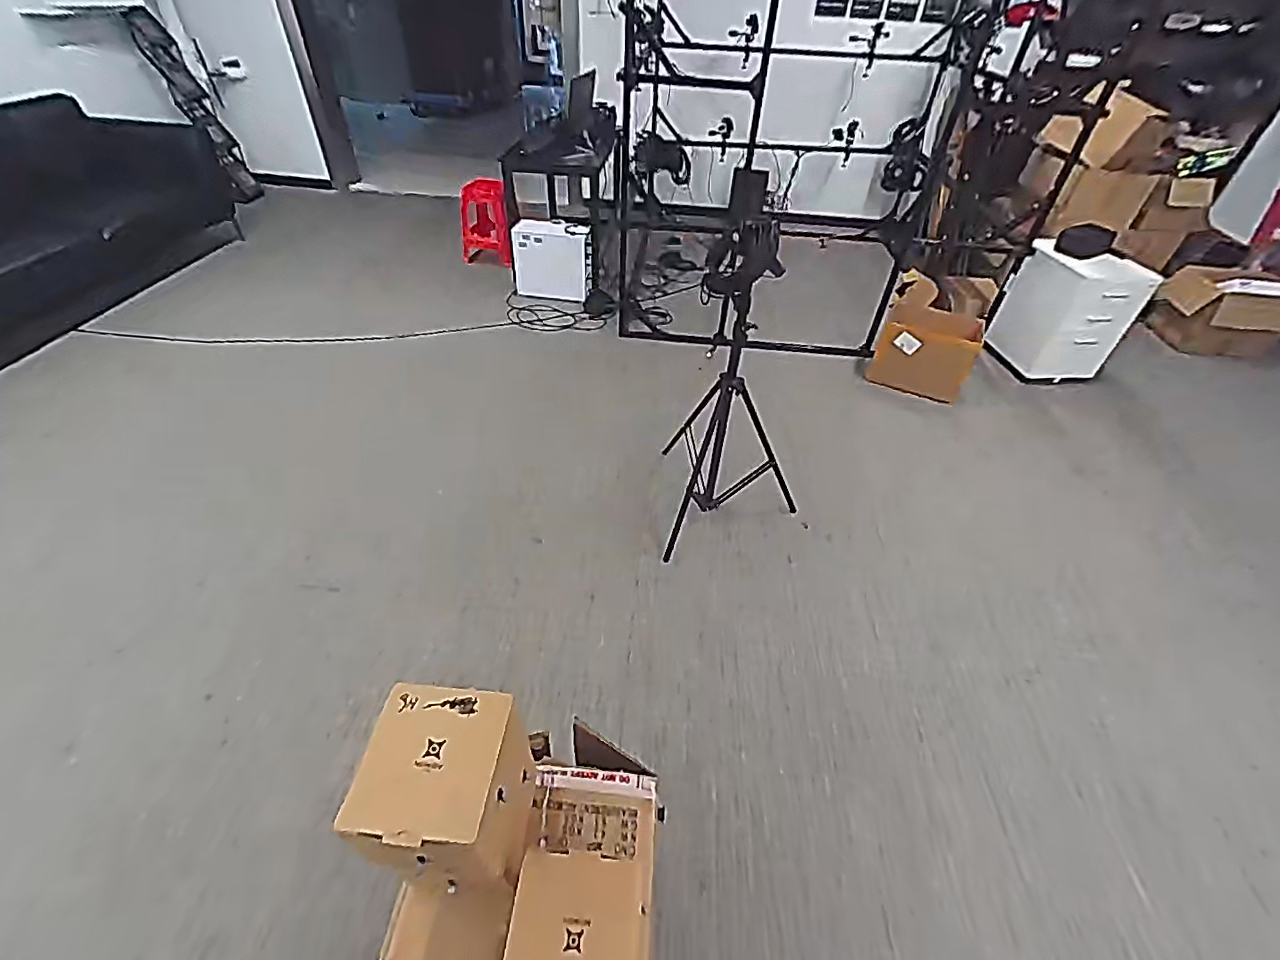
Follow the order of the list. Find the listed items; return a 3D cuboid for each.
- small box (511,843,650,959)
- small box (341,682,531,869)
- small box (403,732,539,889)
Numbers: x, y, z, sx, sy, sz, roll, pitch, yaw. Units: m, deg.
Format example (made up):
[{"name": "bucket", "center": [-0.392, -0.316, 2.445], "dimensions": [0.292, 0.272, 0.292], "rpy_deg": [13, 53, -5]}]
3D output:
[{"name": "small box", "center": [-0.076, 0.620, 0.733], "dimensions": [0.168, 0.176, 0.179], "rpy_deg": [4, 45, 2]}, {"name": "small box", "center": [-0.250, 0.394, 0.718], "dimensions": [0.168, 0.176, 0.179], "rpy_deg": [4, 45, 3]}, {"name": "small box", "center": [-0.257, 0.506, 0.839], "dimensions": [0.168, 0.176, 0.179], "rpy_deg": [3, 44, 2]}]
